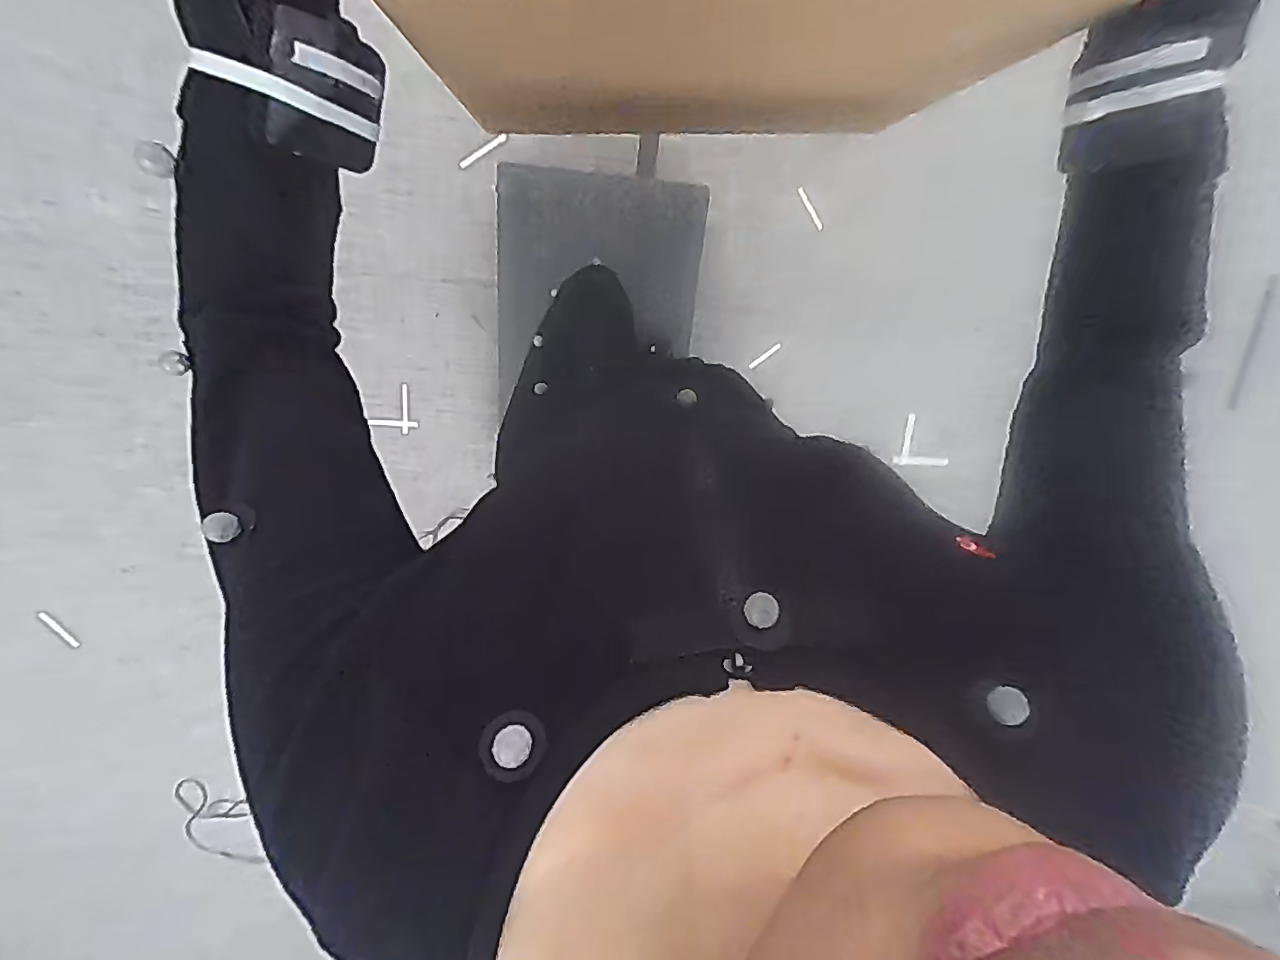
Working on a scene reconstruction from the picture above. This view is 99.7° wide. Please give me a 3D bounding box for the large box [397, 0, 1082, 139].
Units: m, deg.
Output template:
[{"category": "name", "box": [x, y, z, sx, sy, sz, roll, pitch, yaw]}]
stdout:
[{"category": "large box", "box": [0.050, -0.447, 0.362, 0.408, 0.320, 0.320, -3, 112, -3]}]
